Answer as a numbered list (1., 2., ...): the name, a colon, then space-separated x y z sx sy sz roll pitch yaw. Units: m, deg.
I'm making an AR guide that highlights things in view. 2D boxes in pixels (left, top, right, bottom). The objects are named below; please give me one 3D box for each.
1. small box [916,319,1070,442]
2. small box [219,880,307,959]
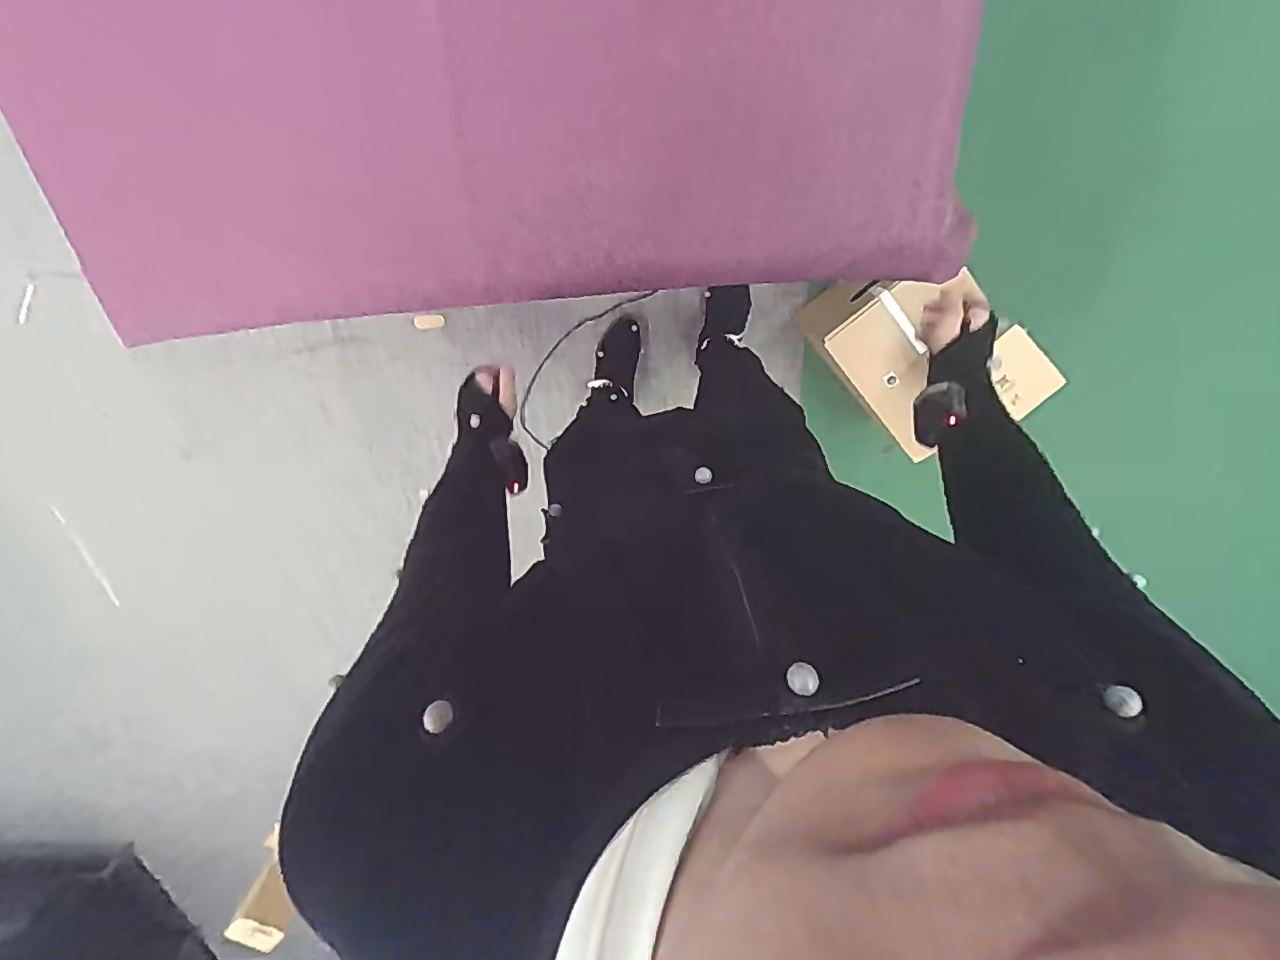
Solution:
1. small box: 0.717 -0.214 1.122 0.179 0.176 0.168 38 111 -15
2. small box: -1.320 1.559 1.906 0.168 0.176 0.179 38 112 -15
